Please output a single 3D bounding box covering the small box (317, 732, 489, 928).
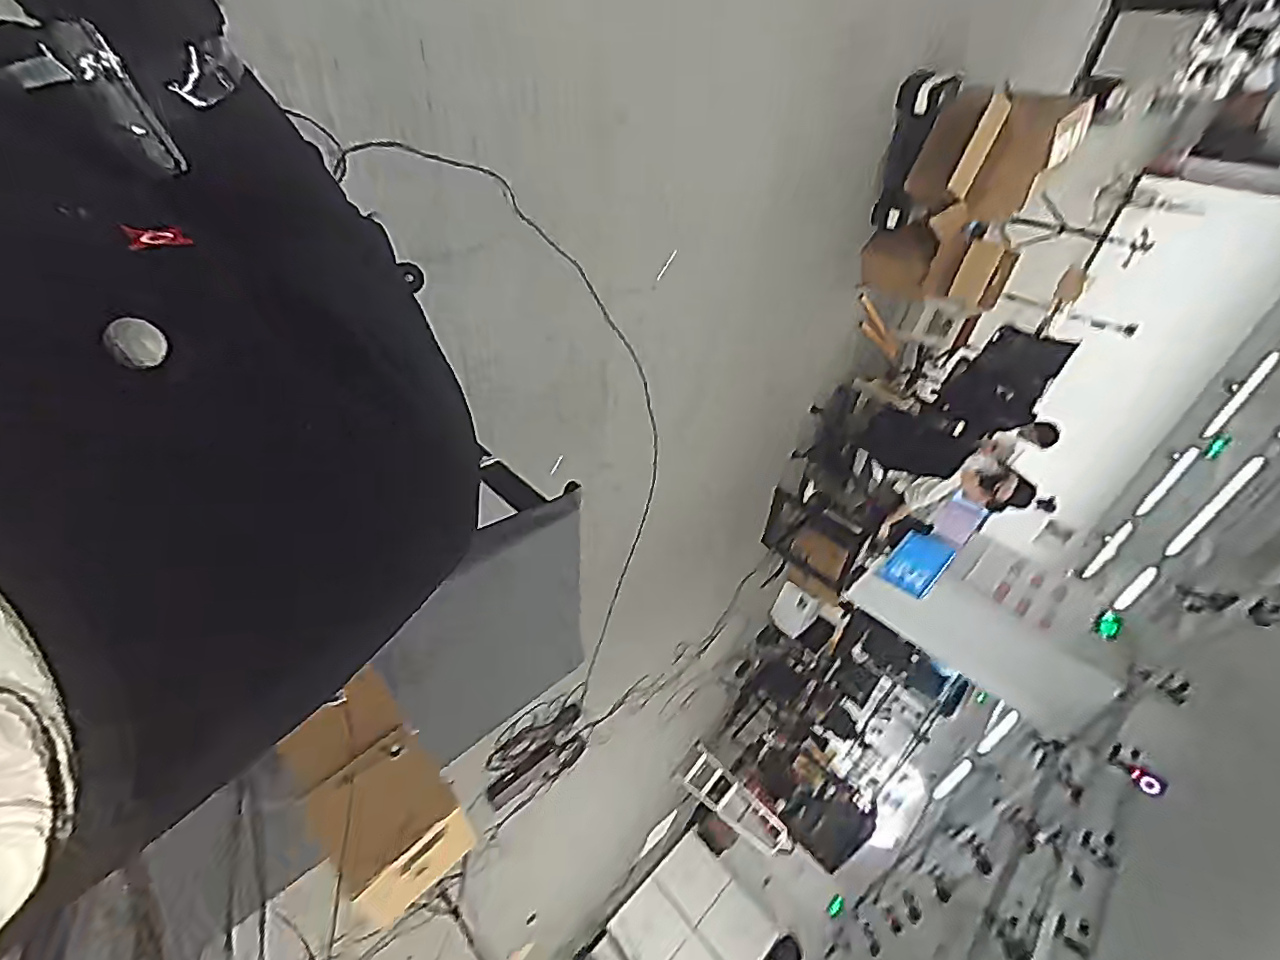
[{"bbox_3d":[-0.360,0.526,0.832,0.168,0.176,0.179,-32,142,-33],"label":"small box"}]

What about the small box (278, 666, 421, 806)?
[{"bbox_3d":[-0.479,0.458,0.923,0.168,0.176,0.179,-30,139,-36],"label":"small box"}]
